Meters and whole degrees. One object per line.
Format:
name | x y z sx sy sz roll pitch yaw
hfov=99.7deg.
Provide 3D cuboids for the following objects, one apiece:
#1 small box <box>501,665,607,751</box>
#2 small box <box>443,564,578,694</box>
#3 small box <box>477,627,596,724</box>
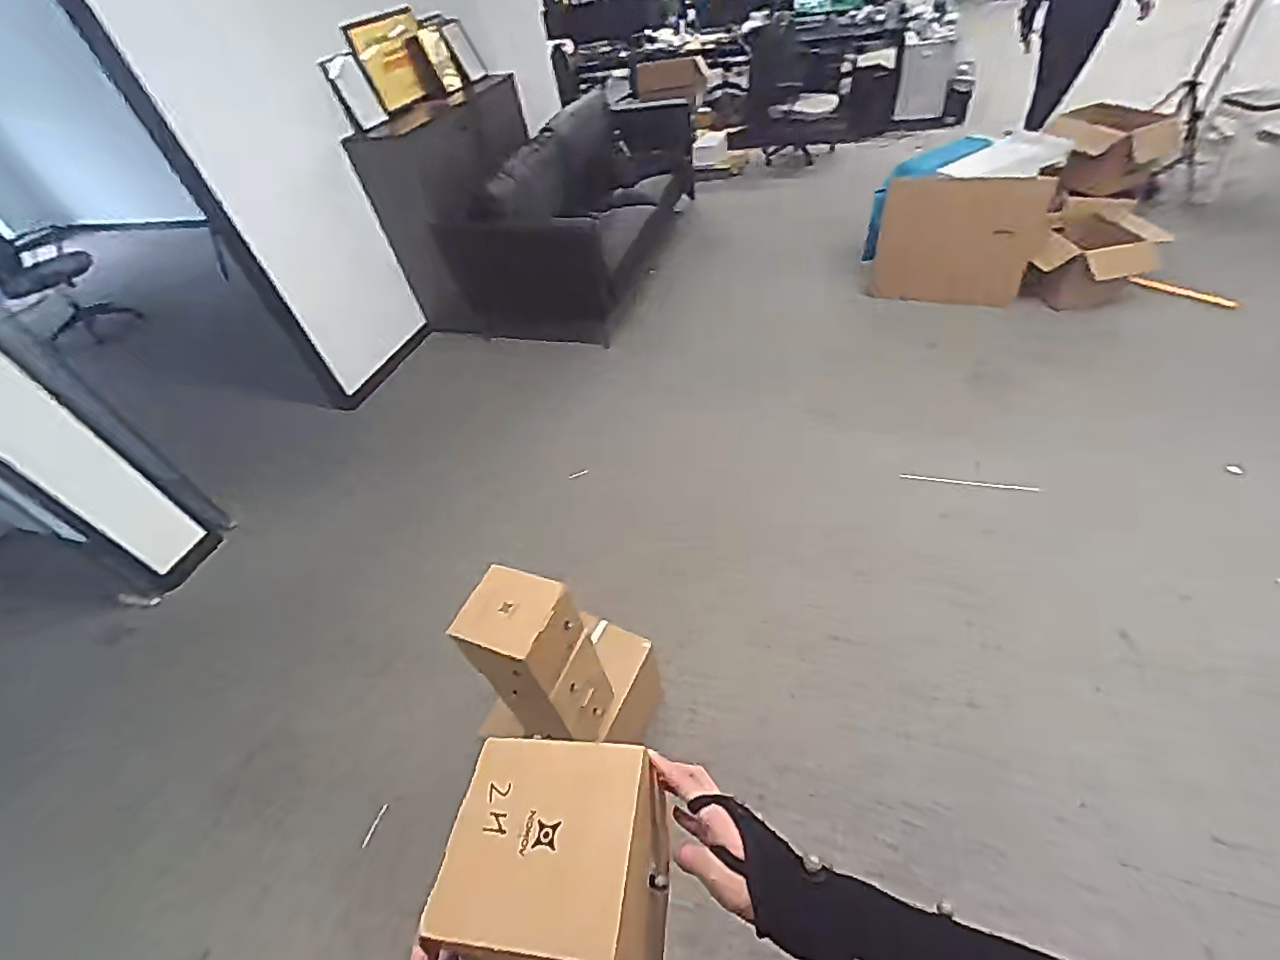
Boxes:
small box | -0.196 0.523 1.298 0.179 0.176 0.168 13 50 21
small box | -0.243 0.297 1.069 0.179 0.176 0.168 11 49 21
small box | -0.215 0.410 1.184 0.179 0.176 0.168 12 50 22
